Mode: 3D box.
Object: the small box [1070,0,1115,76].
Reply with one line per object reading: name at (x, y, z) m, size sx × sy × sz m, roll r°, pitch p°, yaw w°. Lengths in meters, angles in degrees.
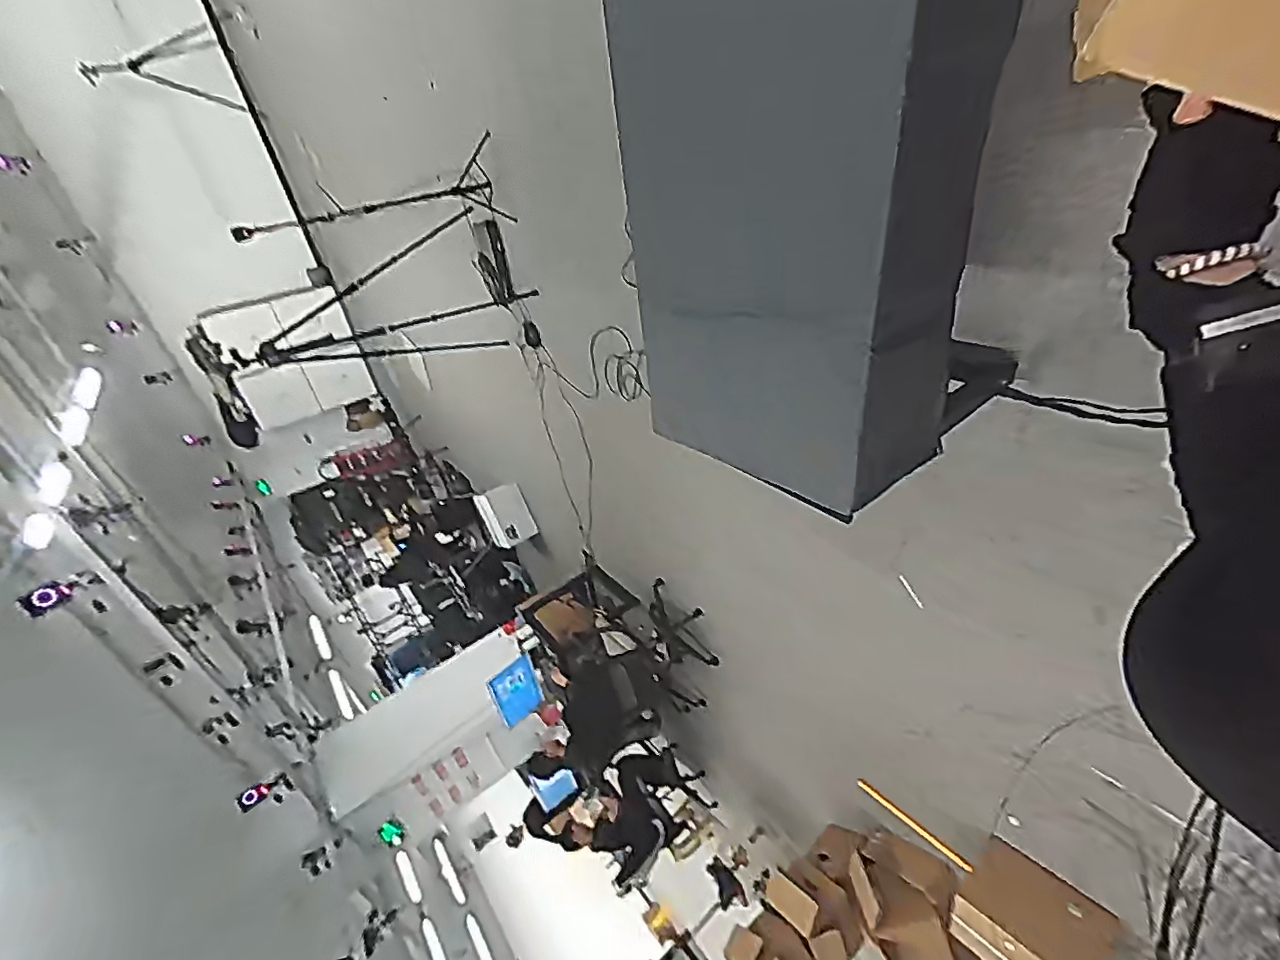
small box at (0.855, -0.799, 0.891) m, size 0.179 × 0.176 × 0.168 m, roll 20°, pitch 133°, yaw 53°
